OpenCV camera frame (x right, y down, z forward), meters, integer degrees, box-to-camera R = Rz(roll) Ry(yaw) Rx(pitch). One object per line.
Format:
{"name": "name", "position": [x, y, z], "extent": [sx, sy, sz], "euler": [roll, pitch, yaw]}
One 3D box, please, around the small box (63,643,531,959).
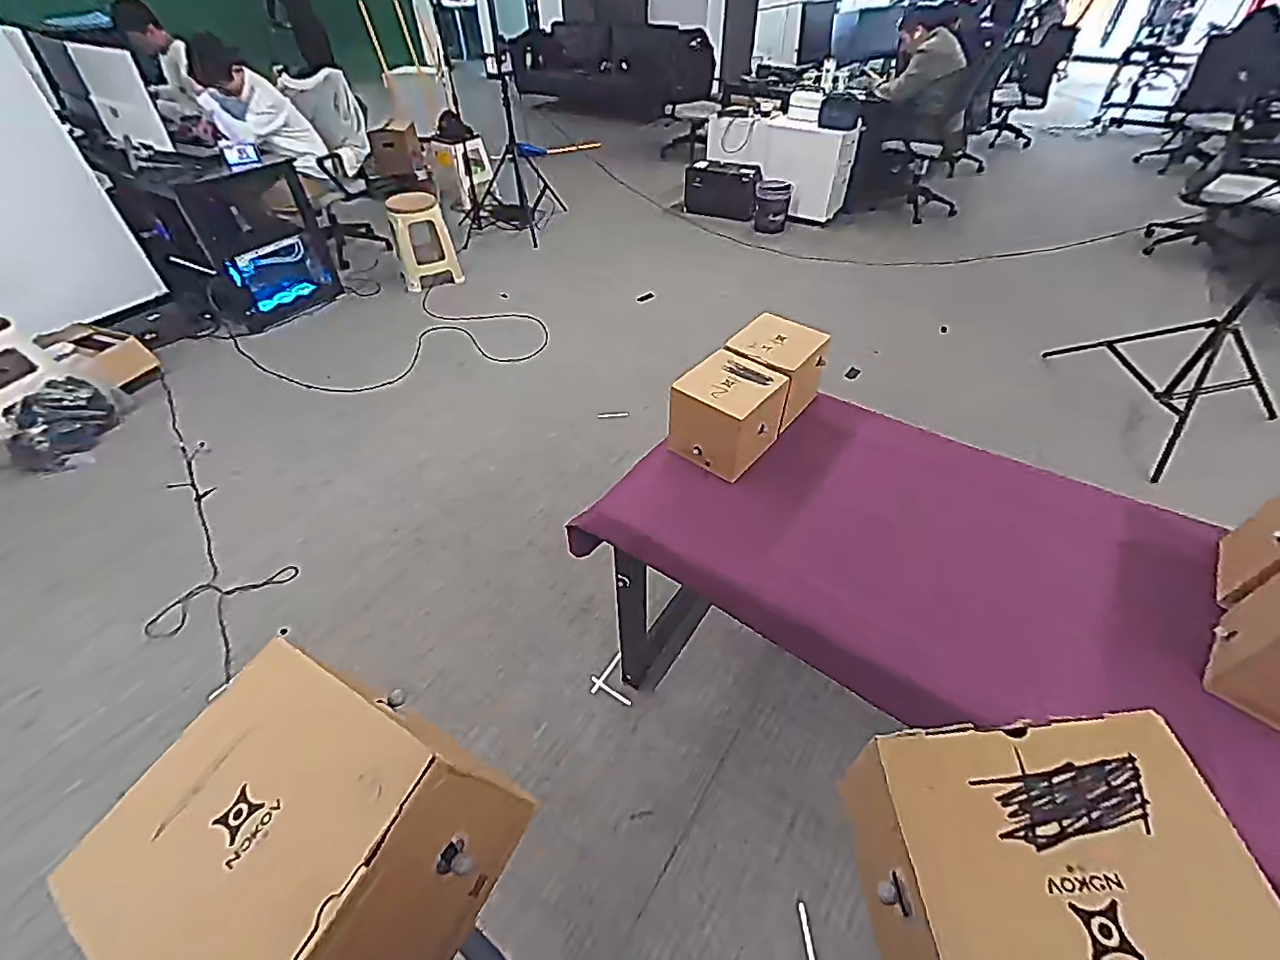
{"name": "small box", "position": [-0.205, 0.247, 0.372], "extent": [0.179, 0.176, 0.168], "euler": [16, 56, 27]}

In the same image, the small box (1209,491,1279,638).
{"name": "small box", "position": [1.042, 0.138, 0.837], "extent": [0.168, 0.176, 0.179], "euler": [30, 51, 26]}

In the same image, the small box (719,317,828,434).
{"name": "small box", "position": [0.291, -0.235, 1.213], "extent": [0.168, 0.176, 0.179], "euler": [30, 53, 27]}

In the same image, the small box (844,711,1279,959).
{"name": "small box", "position": [0.241, 0.264, 0.336], "extent": [0.168, 0.176, 0.179], "euler": [-8, 51, 4]}
